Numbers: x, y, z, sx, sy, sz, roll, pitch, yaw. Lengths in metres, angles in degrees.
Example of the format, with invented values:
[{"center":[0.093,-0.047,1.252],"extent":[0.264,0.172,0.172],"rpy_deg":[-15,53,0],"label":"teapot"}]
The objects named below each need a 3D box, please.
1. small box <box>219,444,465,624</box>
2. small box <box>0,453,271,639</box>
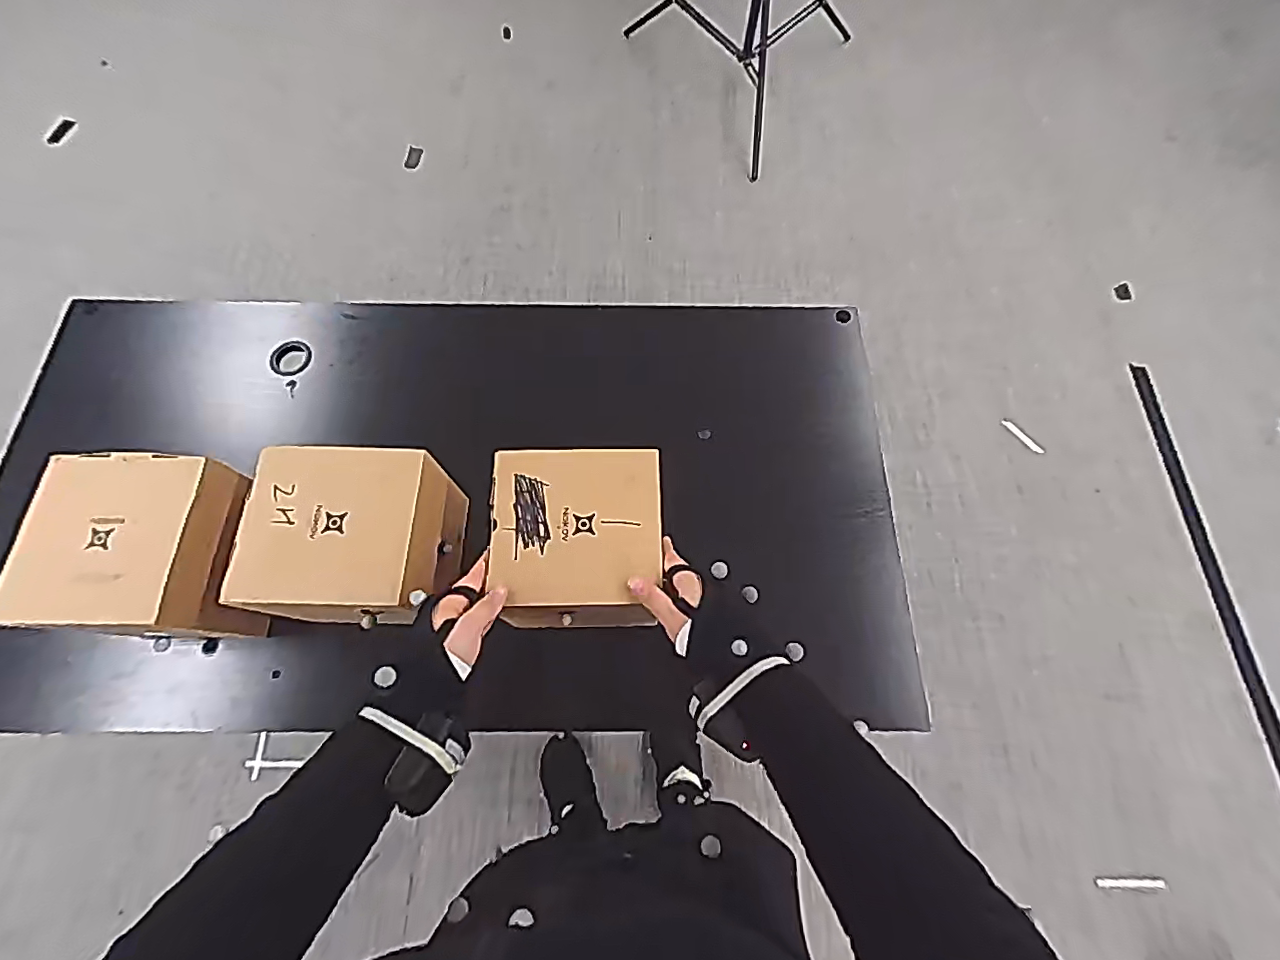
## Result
[{"center":[-0.313,0.069,0.614],"extent":[0.179,0.176,0.168],"rpy_deg":[1,69,0],"label":"small box"},{"center":[-0.532,0.082,0.608],"extent":[0.168,0.176,0.179],"rpy_deg":[0,70,0],"label":"small box"}]
